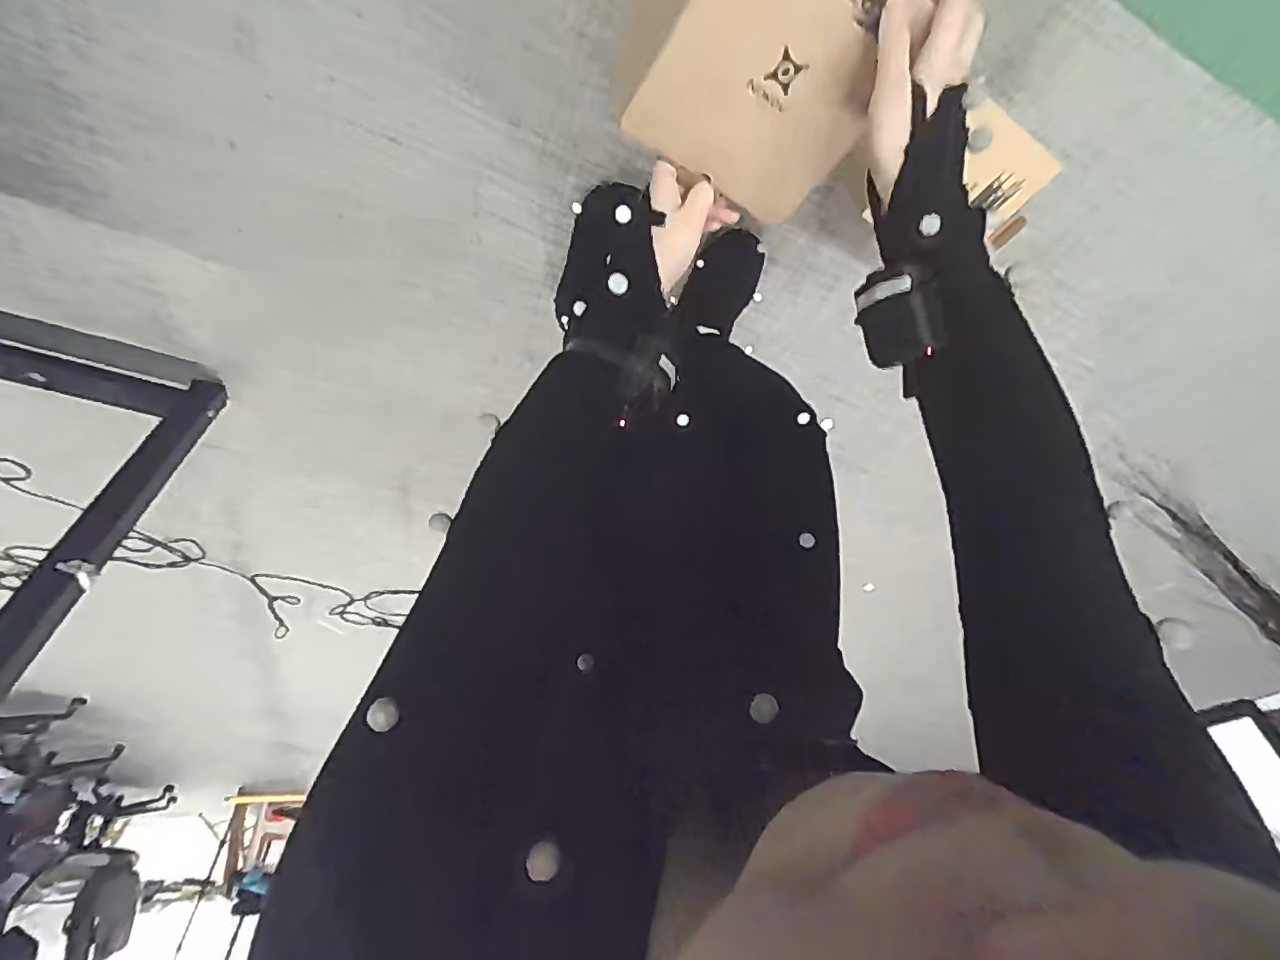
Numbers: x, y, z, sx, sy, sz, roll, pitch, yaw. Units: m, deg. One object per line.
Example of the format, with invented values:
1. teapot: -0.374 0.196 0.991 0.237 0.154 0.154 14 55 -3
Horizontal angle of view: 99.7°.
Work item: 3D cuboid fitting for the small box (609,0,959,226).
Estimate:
1. small box: 0.092 -0.345 0.406 0.168 0.176 0.179 17 146 -29
